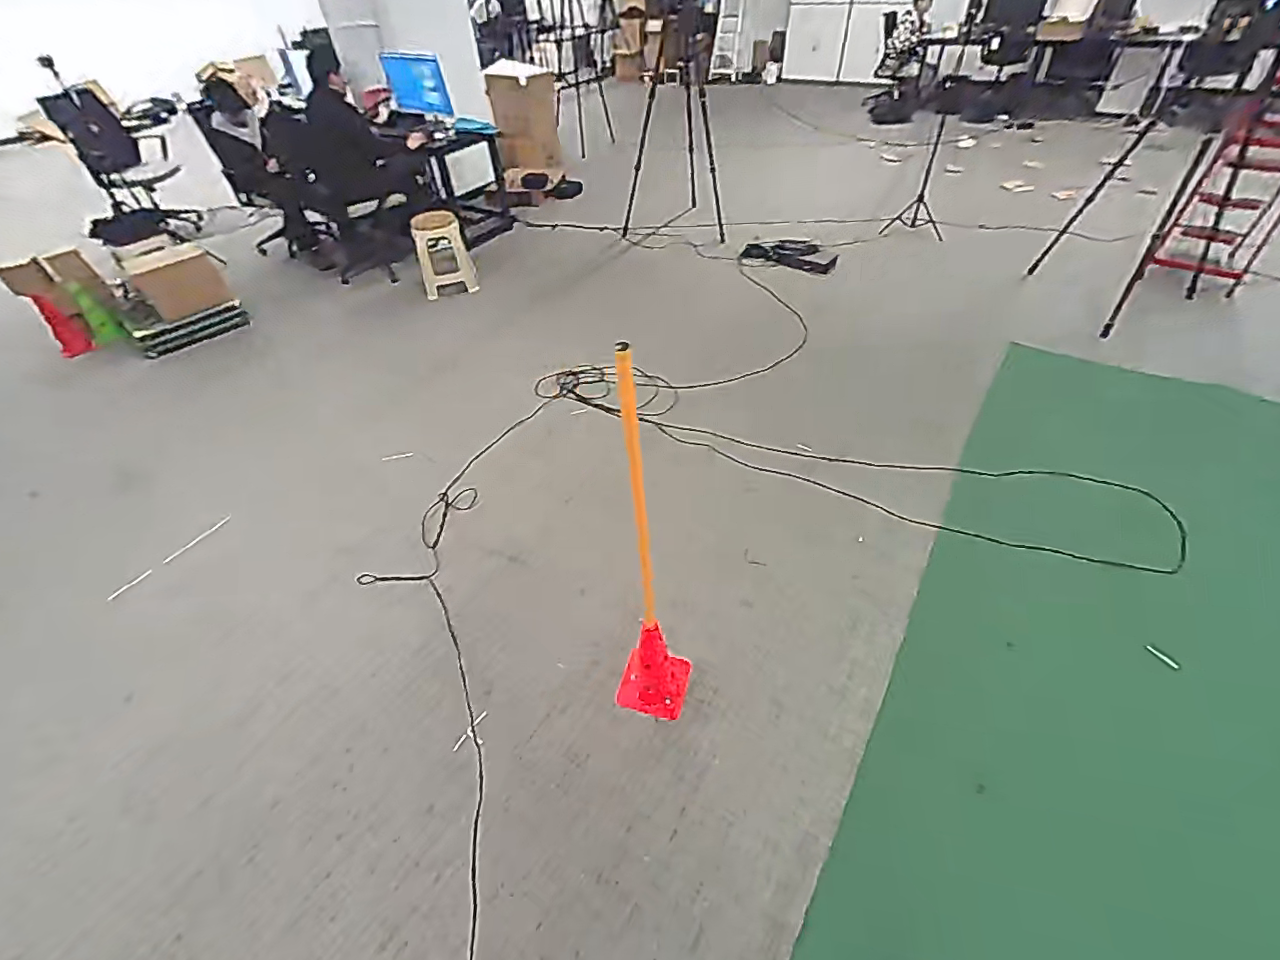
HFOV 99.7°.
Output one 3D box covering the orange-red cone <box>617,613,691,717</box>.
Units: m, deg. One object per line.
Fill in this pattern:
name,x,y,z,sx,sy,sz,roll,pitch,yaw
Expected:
orange-red cone,0.040,0.494,1.556,0.198,0.360,0.199,12,45,14
